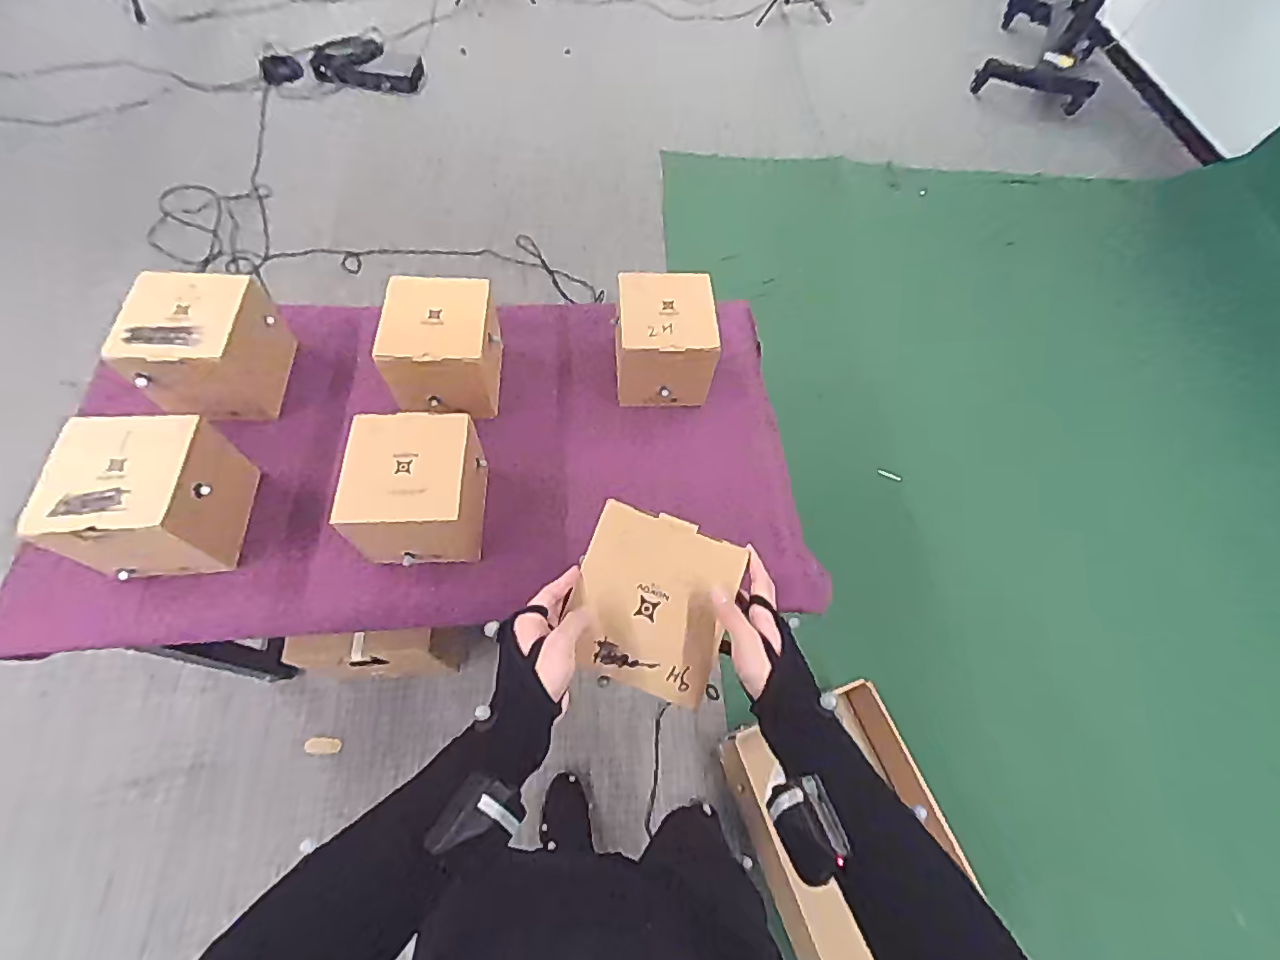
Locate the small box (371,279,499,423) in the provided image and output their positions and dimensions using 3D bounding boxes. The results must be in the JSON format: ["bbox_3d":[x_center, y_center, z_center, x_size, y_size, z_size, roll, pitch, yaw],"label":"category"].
[{"bbox_3d":[-0.343,-0.220,0.943,0.168,0.176,0.179,0,63,-6],"label":"small box"}]

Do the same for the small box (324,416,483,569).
[{"bbox_3d":[-0.337,0.023,0.814,0.168,0.176,0.179,0,62,-5],"label":"small box"}]

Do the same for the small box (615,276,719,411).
[{"bbox_3d":[0.040,-0.247,0.989,0.168,0.176,0.179,-1,63,-4],"label":"small box"}]

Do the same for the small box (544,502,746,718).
[{"bbox_3d":[0.007,0.147,0.635,0.168,0.176,0.179,20,78,6],"label":"small box"}]

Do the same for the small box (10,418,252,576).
[{"bbox_3d":[-0.697,0.031,0.772,0.168,0.176,0.179,-2,61,-7],"label":"small box"}]

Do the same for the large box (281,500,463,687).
[{"bbox_3d":[-0.648,0.292,1.392,0.320,0.320,0.408,-1,61,-7],"label":"large box"}]
